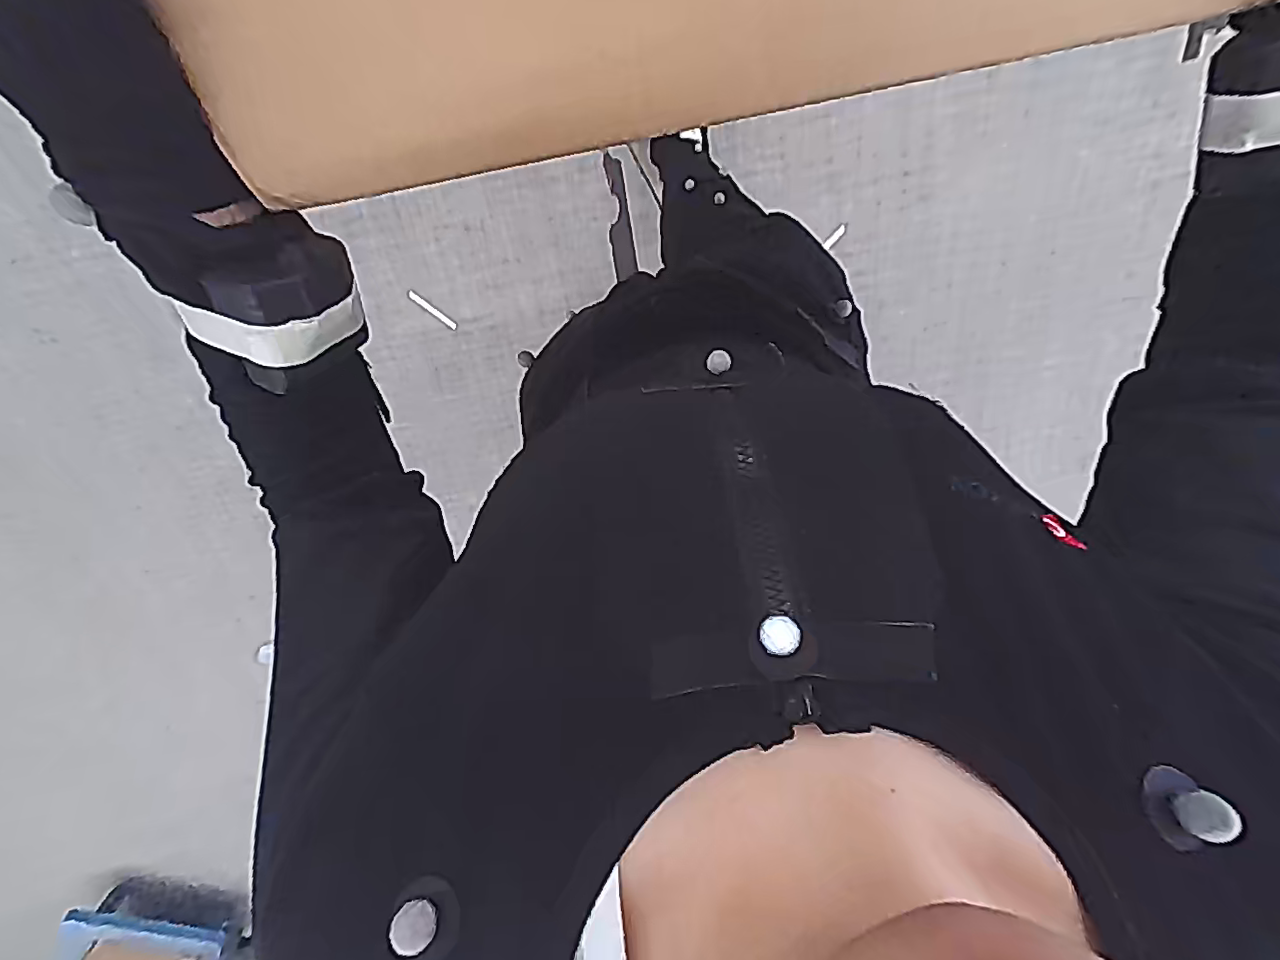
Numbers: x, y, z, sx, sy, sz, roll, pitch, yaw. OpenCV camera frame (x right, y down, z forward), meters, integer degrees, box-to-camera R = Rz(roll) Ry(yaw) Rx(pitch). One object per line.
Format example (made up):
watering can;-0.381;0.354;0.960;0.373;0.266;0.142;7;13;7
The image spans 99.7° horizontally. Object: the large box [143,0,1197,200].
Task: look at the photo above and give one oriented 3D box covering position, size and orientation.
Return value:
large box;0.000;-0.364;0.201;0.408;0.320;0.320;-9;140;4
